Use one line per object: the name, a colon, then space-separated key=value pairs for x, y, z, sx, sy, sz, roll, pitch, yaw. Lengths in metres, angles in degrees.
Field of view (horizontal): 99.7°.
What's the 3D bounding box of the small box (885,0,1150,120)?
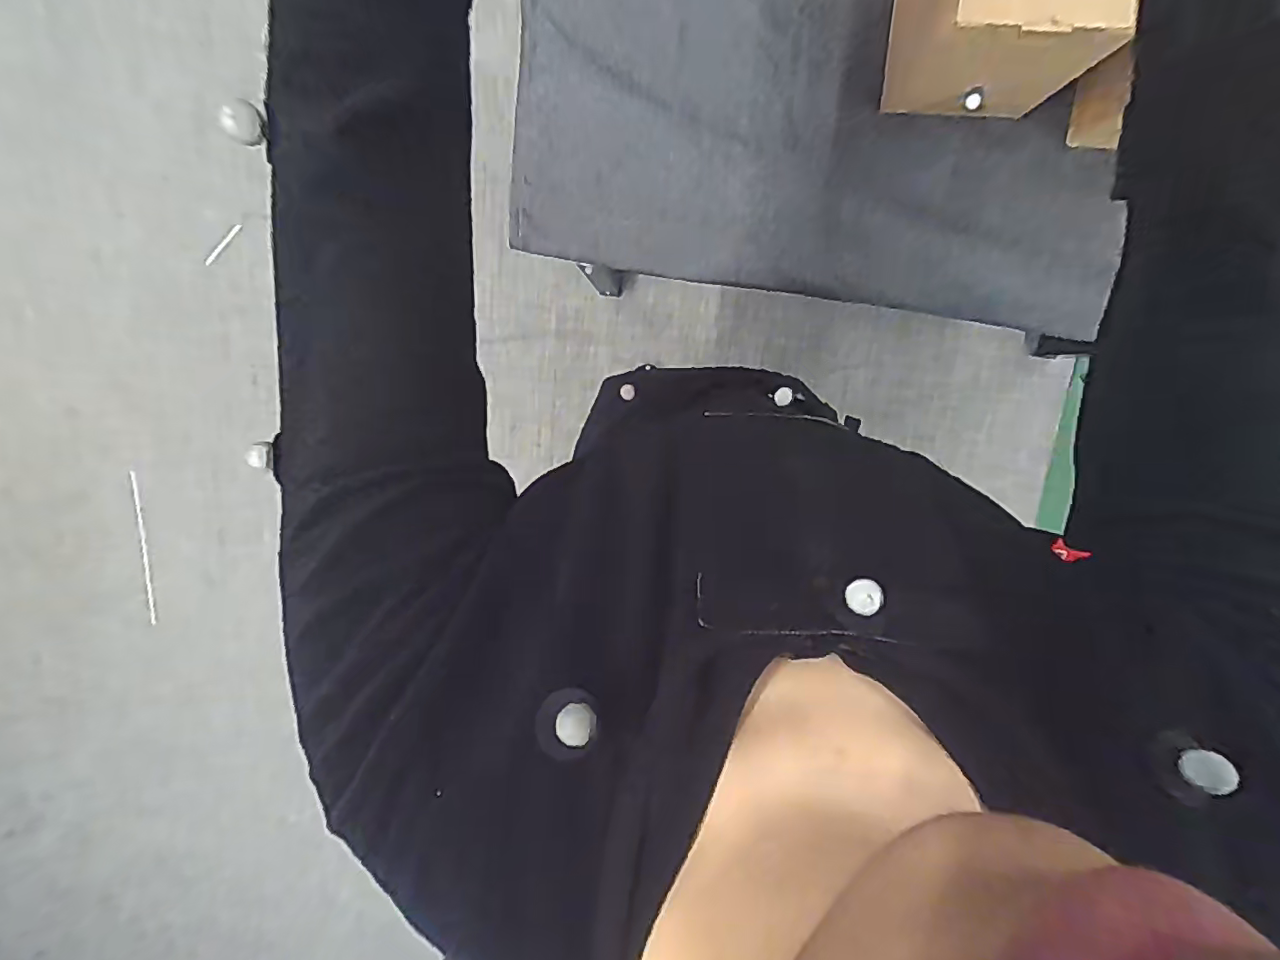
small box: x=0.365 y=-0.495 z=0.535 sx=0.168 sy=0.176 sz=0.179 roll=3 pitch=101 yaw=2
